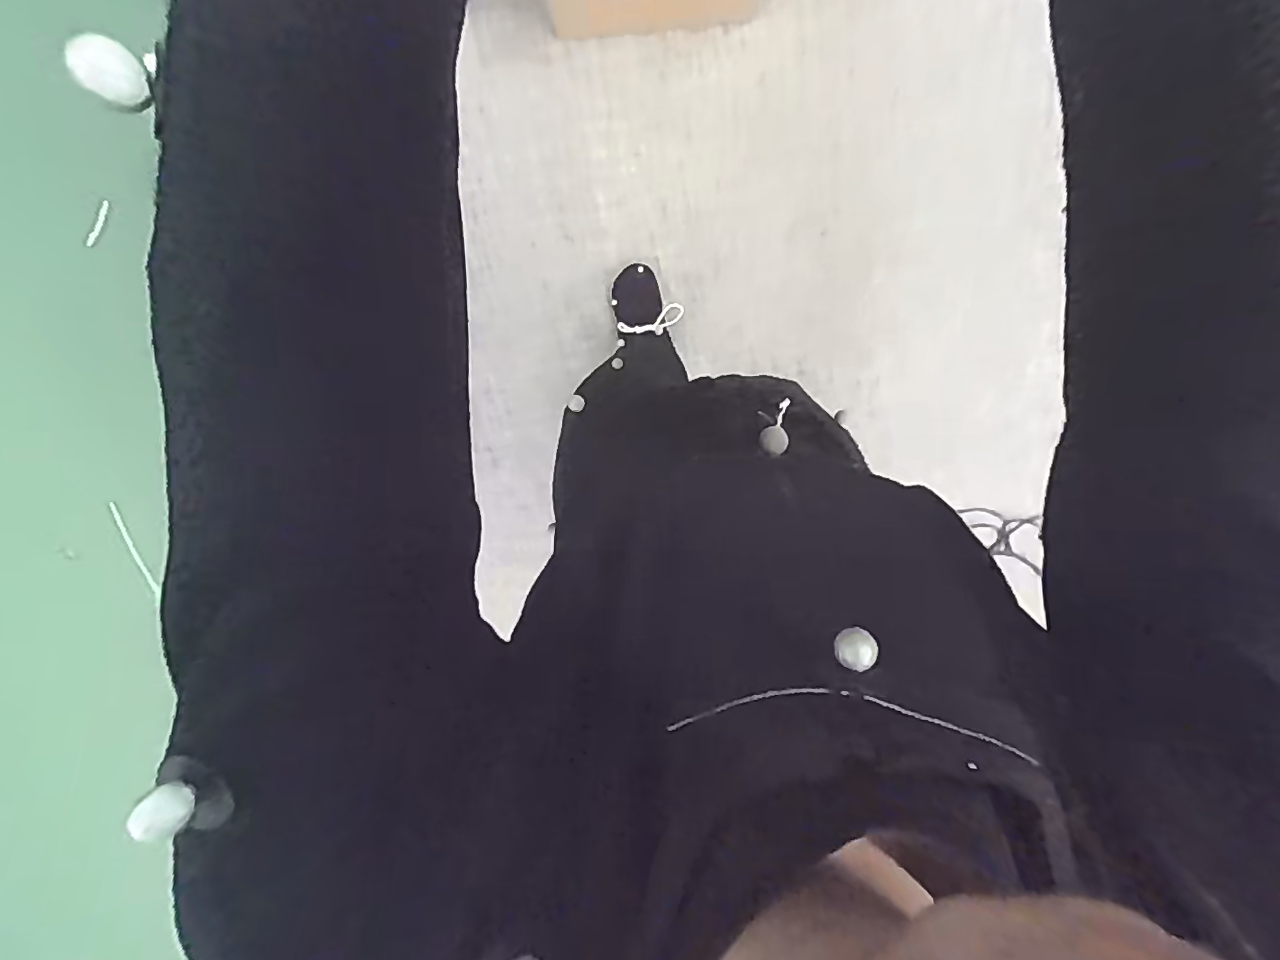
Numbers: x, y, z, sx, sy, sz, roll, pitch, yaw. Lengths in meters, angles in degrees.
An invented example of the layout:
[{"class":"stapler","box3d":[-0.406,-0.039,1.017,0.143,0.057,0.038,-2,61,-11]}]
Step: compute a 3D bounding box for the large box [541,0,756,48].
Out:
[{"class":"large box","box3d":[0.007,-0.996,0.908,0.408,0.320,0.320,-5,107,1]}]
